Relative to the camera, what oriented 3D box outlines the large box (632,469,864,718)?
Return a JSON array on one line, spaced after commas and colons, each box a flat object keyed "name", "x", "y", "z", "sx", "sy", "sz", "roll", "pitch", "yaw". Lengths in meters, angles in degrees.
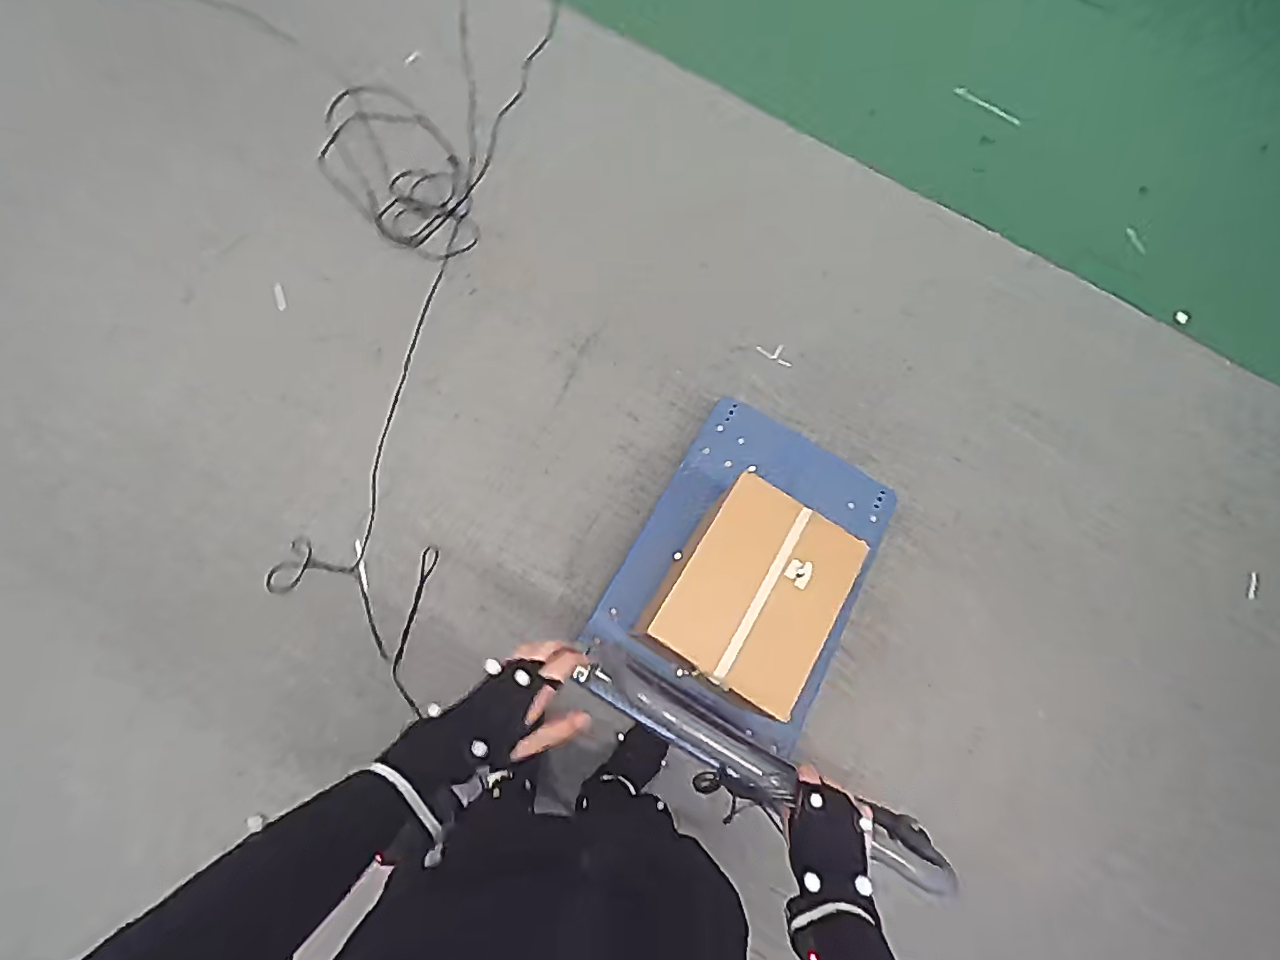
[{"name": "large box", "x": 0.222, "y": 0.257, "z": 1.215, "sx": 0.320, "sy": 0.320, "sz": 0.408, "roll": 33, "pitch": 71, "yaw": 3}]
